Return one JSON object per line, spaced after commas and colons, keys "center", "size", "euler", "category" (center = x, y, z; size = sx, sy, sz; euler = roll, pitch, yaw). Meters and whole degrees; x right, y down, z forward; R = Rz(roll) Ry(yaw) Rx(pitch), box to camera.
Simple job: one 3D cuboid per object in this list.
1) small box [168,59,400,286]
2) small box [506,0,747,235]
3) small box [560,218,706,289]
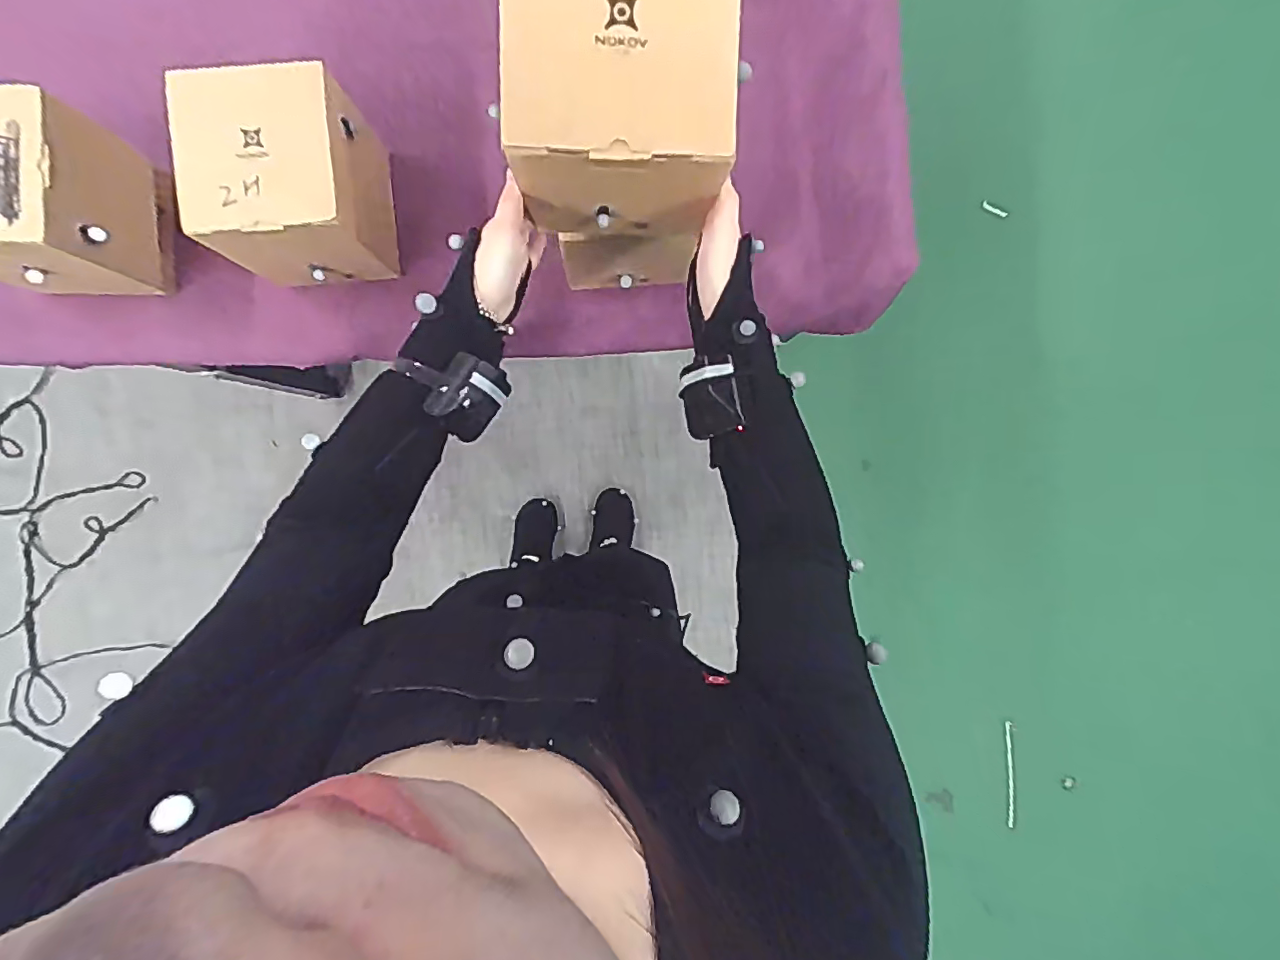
{"center": [-0.411, -0.355, 0.653], "size": [0.168, 0.176, 0.179], "euler": [-6, 91, -1], "category": "small box"}
{"center": [-0.014, -0.322, 0.445], "size": [0.168, 0.176, 0.179], "euler": [0, 98, -3], "category": "small box"}
{"center": [-0.016, -0.355, 0.673], "size": [0.168, 0.176, 0.179], "euler": [-4, 92, -2], "category": "small box"}
